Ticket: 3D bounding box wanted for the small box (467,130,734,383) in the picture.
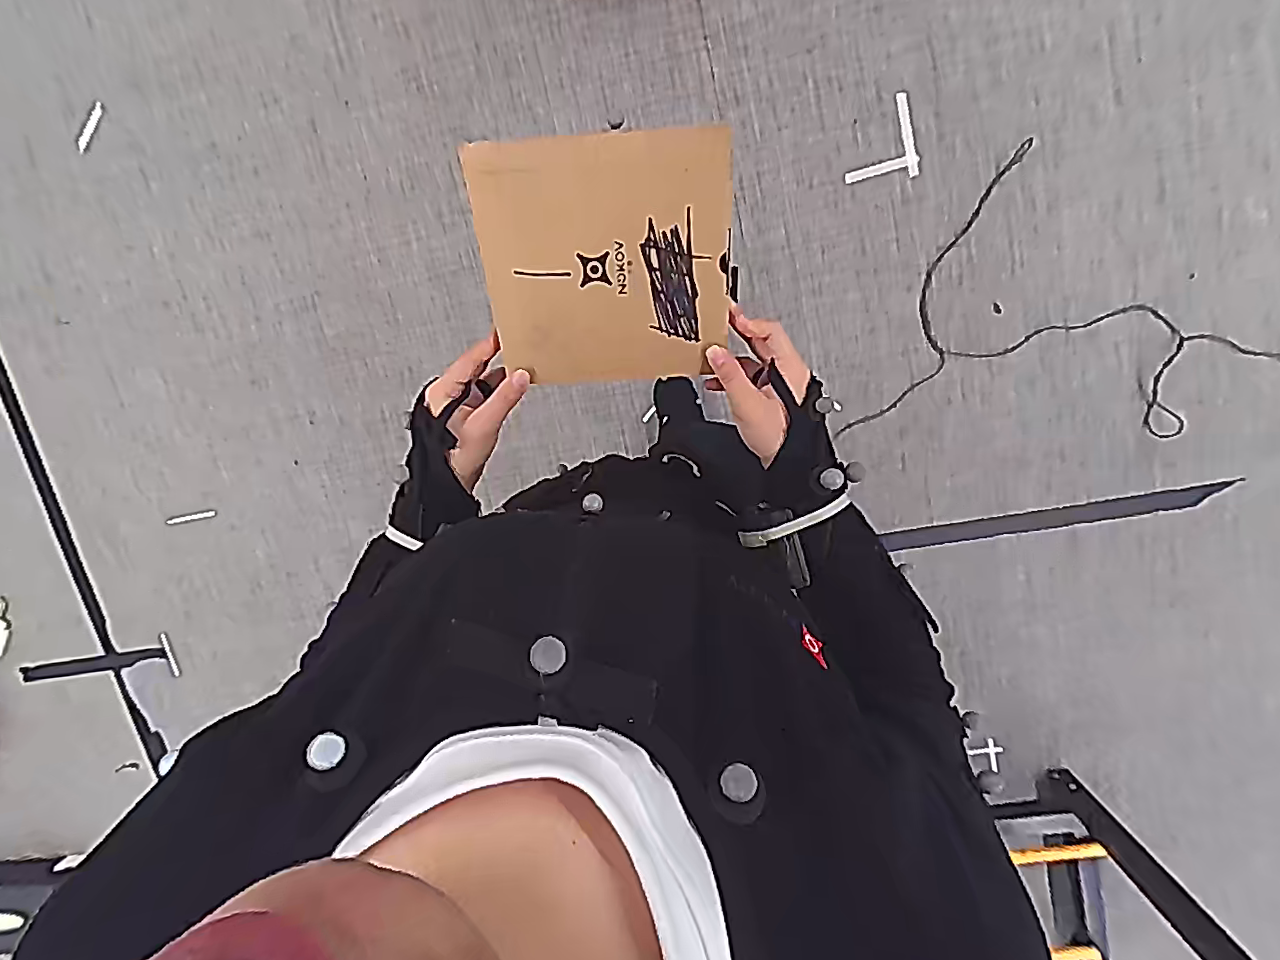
[{"bbox_3d":[-0.021,-0.193,0.455,0.179,0.176,0.168,-2,122,3],"label":"small box"}]
